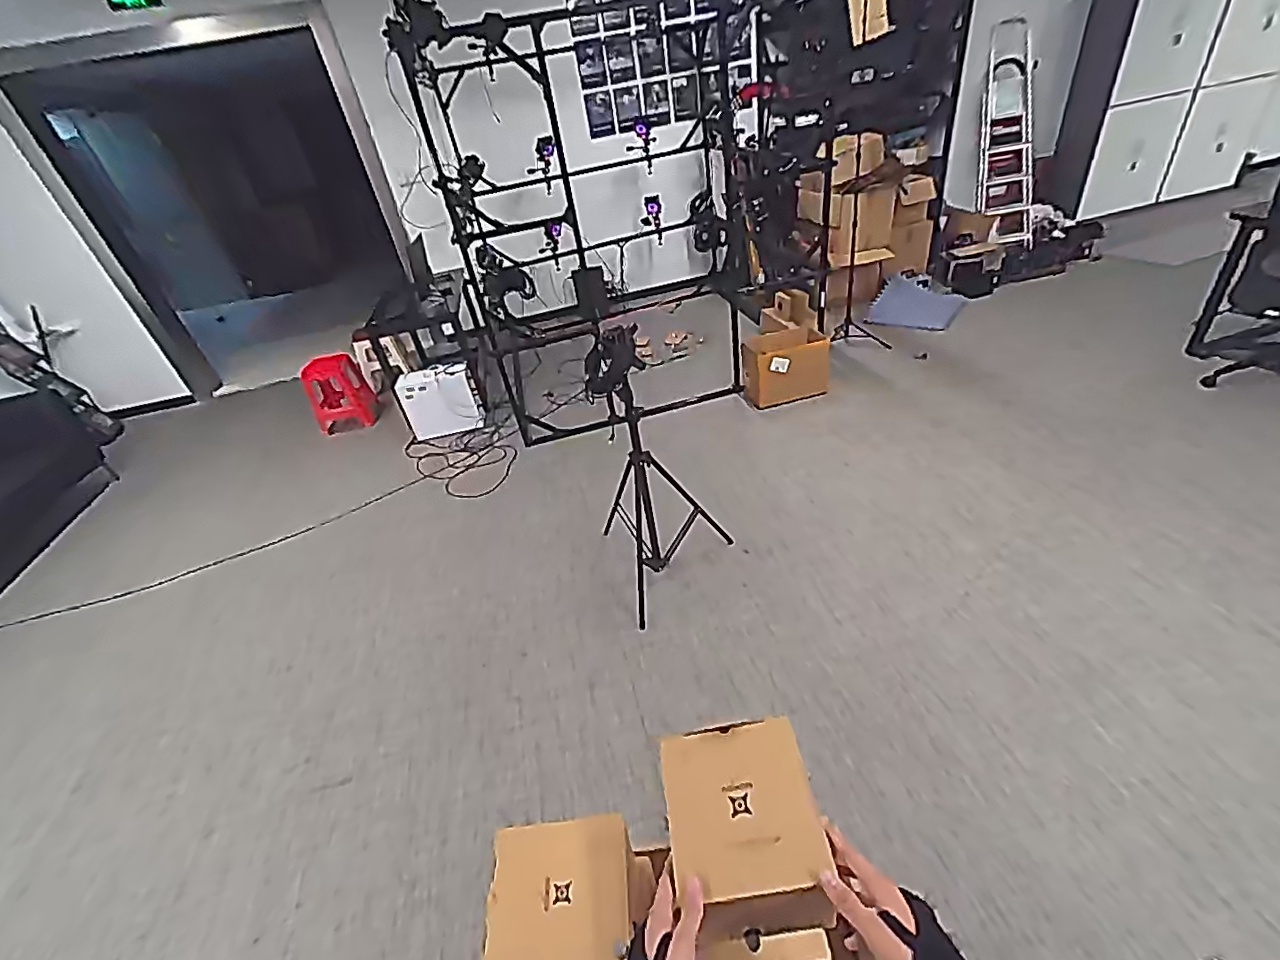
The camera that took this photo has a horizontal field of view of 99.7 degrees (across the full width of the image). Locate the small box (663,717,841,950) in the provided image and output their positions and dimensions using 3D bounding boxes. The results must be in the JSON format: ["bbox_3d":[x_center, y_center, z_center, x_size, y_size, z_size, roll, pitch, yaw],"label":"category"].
[{"bbox_3d":[0.127,0.420,0.647,0.168,0.176,0.179,-12,37,3],"label":"small box"}]

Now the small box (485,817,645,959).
[{"bbox_3d":[-0.087,0.576,0.707,0.179,0.176,0.168,-9,34,1],"label":"small box"}]
